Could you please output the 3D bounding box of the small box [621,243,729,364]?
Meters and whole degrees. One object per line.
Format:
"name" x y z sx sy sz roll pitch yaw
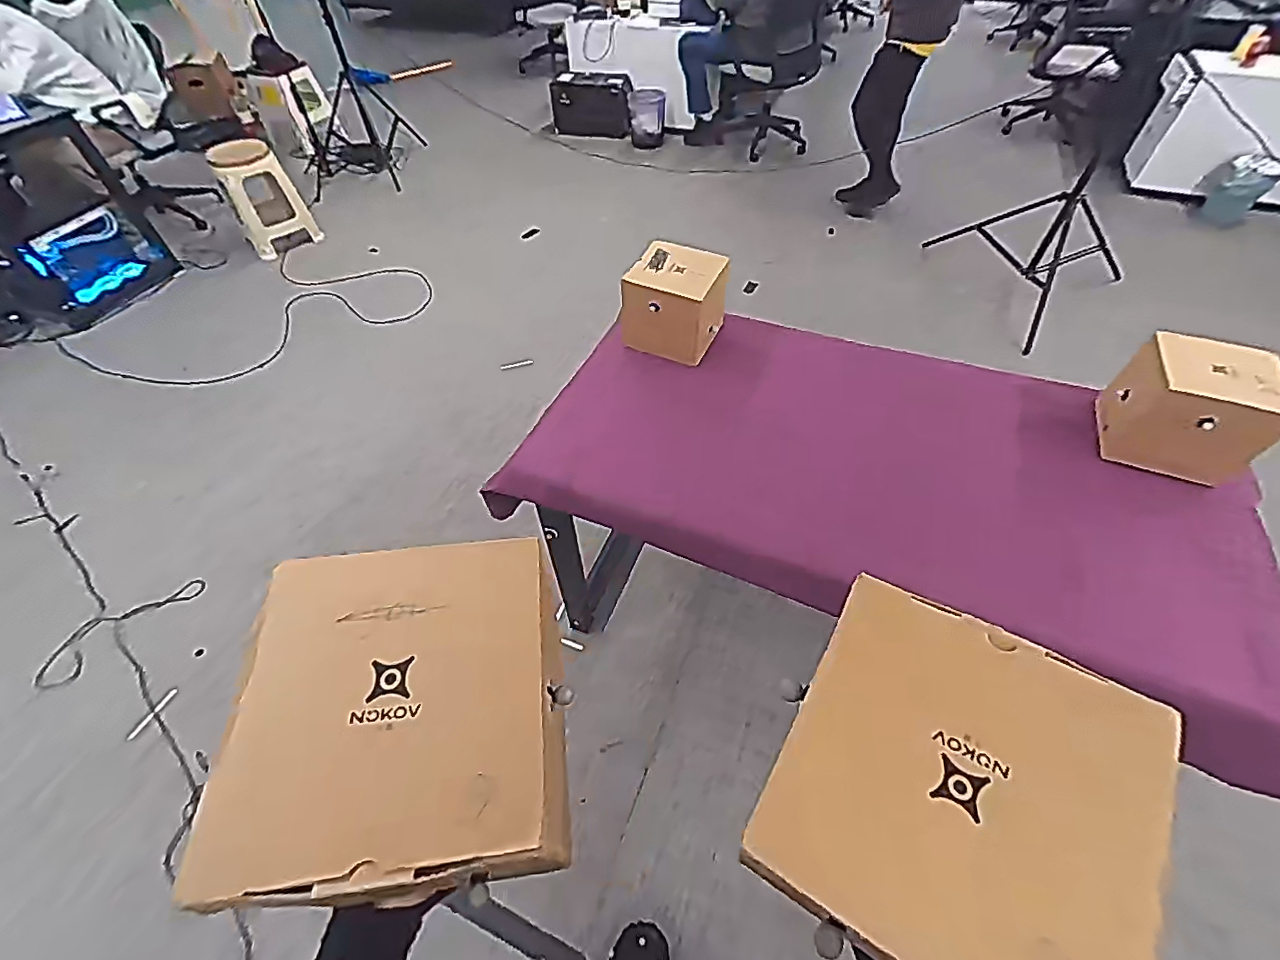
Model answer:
"small box" 0.074 -0.375 1.160 0.179 0.176 0.168 20 56 15

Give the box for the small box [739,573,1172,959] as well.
"small box" 0.174 0.197 0.339 0.168 0.176 0.179 23 59 24

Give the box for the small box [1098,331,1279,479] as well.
"small box" 0.934 -0.126 0.933 0.179 0.176 0.168 18 55 15

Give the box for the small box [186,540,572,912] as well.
"small box" -0.137 0.164 0.362 0.168 0.176 0.179 -5 52 -7
